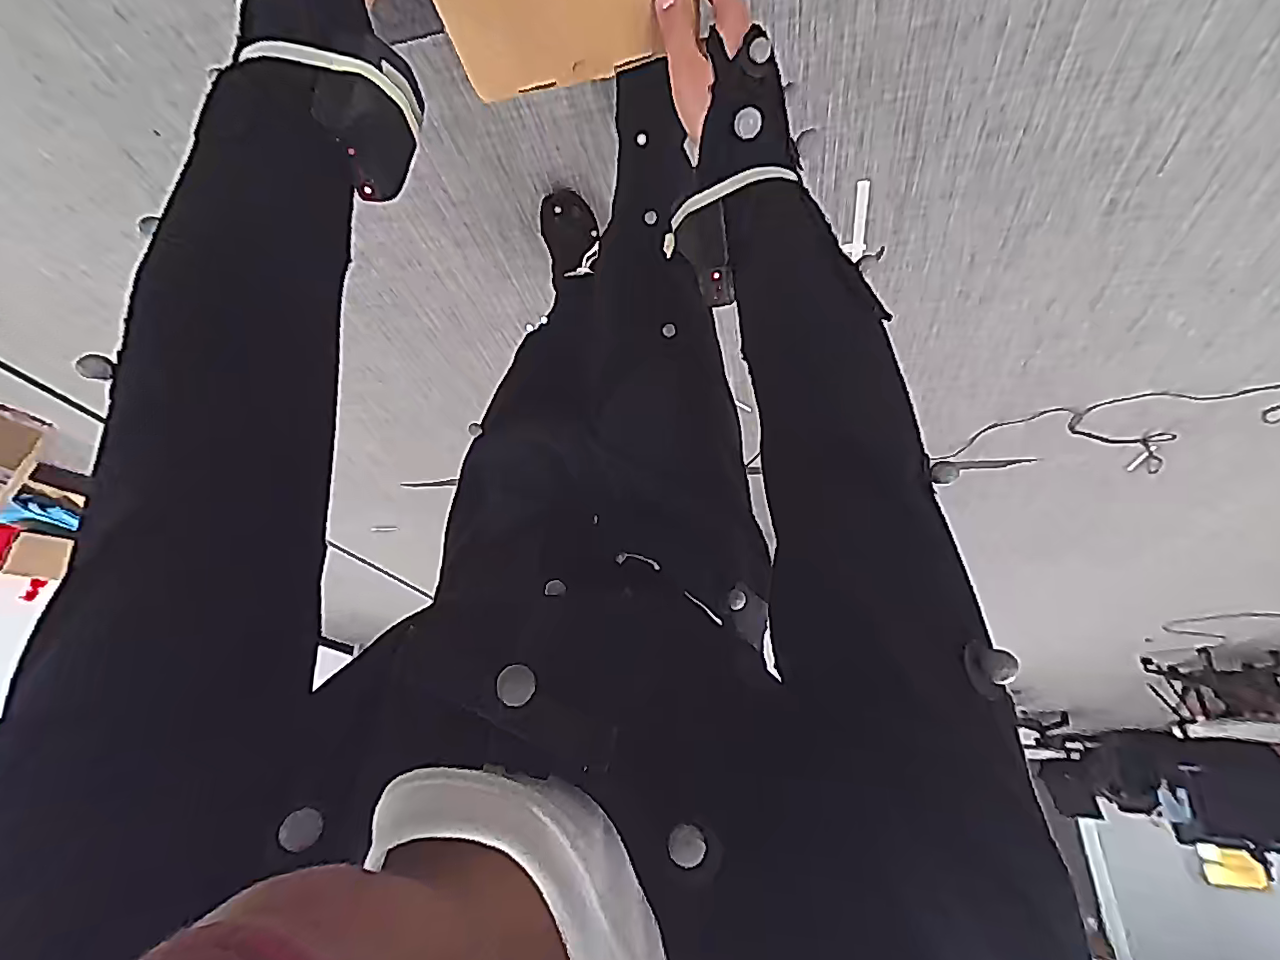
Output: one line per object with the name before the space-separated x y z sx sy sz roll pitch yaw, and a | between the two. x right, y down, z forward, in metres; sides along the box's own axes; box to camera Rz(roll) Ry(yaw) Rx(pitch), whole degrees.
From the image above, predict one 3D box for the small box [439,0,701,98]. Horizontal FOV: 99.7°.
small box | -0.055 -0.403 0.353 0.168 0.176 0.179 -4 150 14
